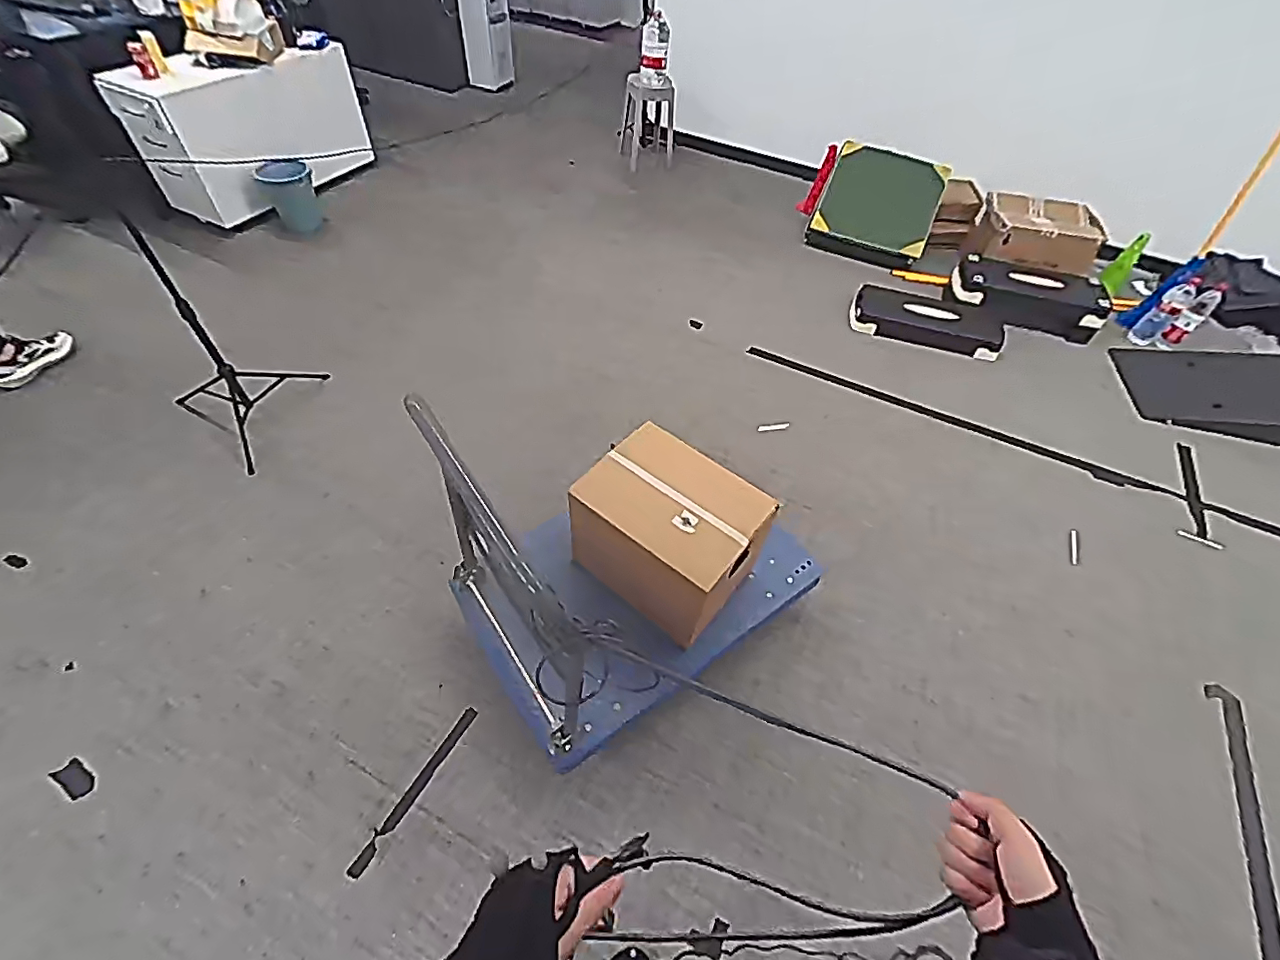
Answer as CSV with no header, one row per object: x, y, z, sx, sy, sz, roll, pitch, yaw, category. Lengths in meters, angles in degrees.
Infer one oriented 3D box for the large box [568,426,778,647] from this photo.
0.065,0.139,1.374,0.408,0.320,0.320,34,57,20,large box
